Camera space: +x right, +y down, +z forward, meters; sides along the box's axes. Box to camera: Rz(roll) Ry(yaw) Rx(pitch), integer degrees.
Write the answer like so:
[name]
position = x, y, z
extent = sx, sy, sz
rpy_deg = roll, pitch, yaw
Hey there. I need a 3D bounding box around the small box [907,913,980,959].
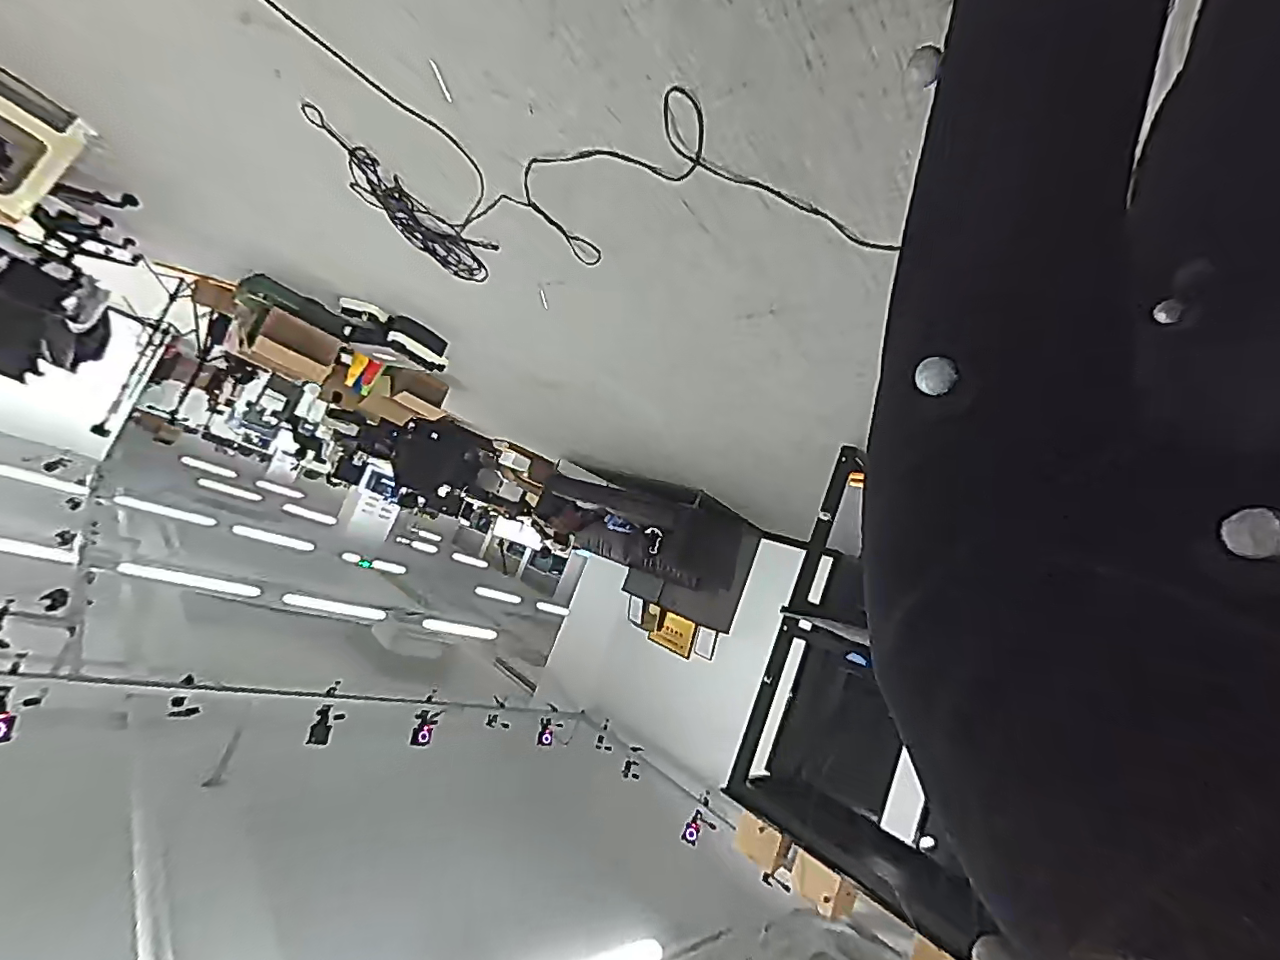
[small box]
position = 0.898, 1.446, 1.610
extent = 0.168, 0.176, 0.179
rpy_deg = 16, 169, 37
